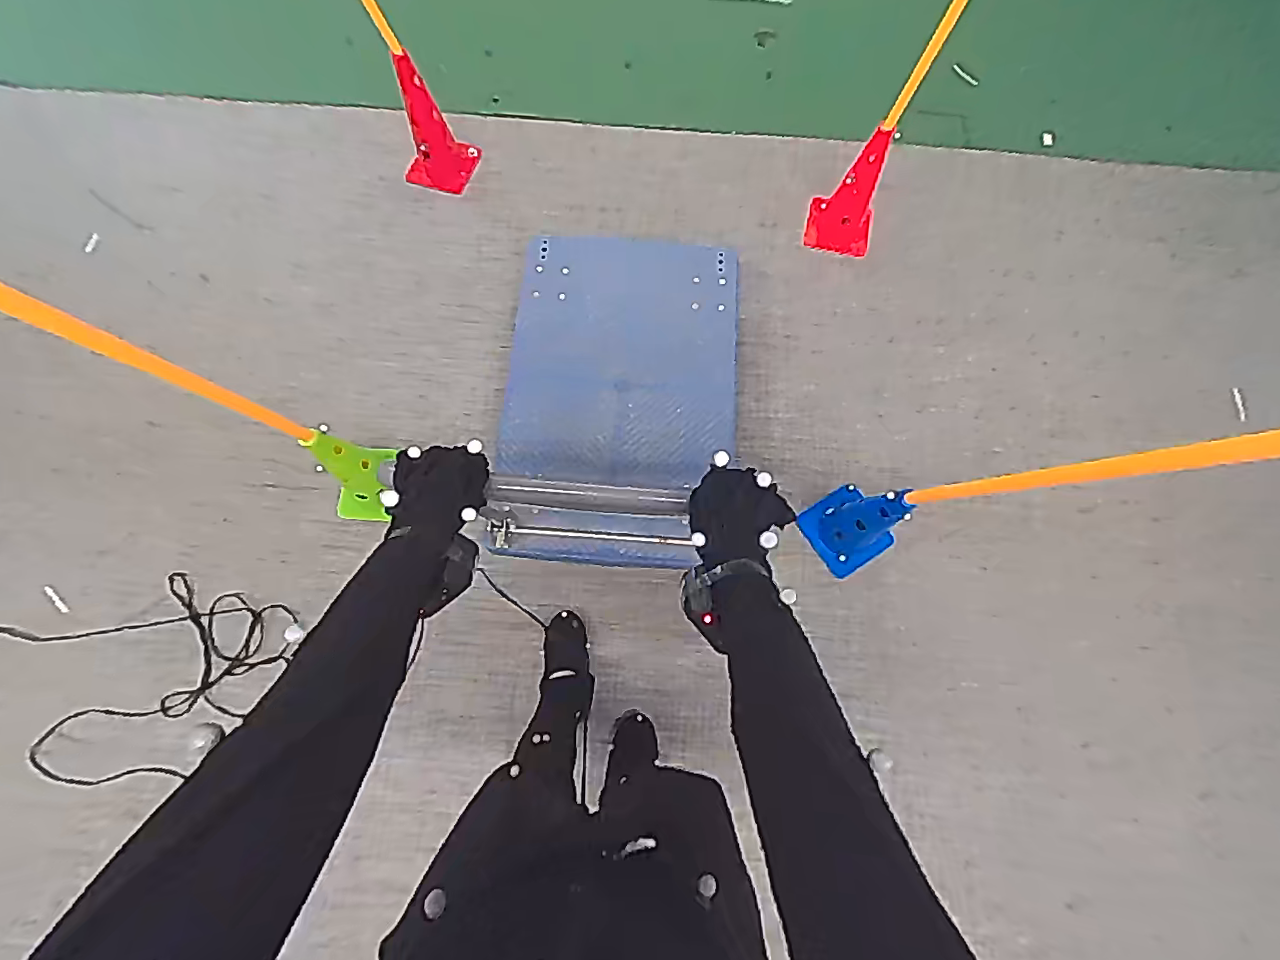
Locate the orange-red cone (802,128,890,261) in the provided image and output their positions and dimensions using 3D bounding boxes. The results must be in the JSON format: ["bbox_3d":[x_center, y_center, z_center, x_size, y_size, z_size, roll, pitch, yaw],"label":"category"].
[{"bbox_3d":[0.628,-0.843,1.562,0.198,0.360,0.199,15,74,4],"label":"orange-red cone"}]
